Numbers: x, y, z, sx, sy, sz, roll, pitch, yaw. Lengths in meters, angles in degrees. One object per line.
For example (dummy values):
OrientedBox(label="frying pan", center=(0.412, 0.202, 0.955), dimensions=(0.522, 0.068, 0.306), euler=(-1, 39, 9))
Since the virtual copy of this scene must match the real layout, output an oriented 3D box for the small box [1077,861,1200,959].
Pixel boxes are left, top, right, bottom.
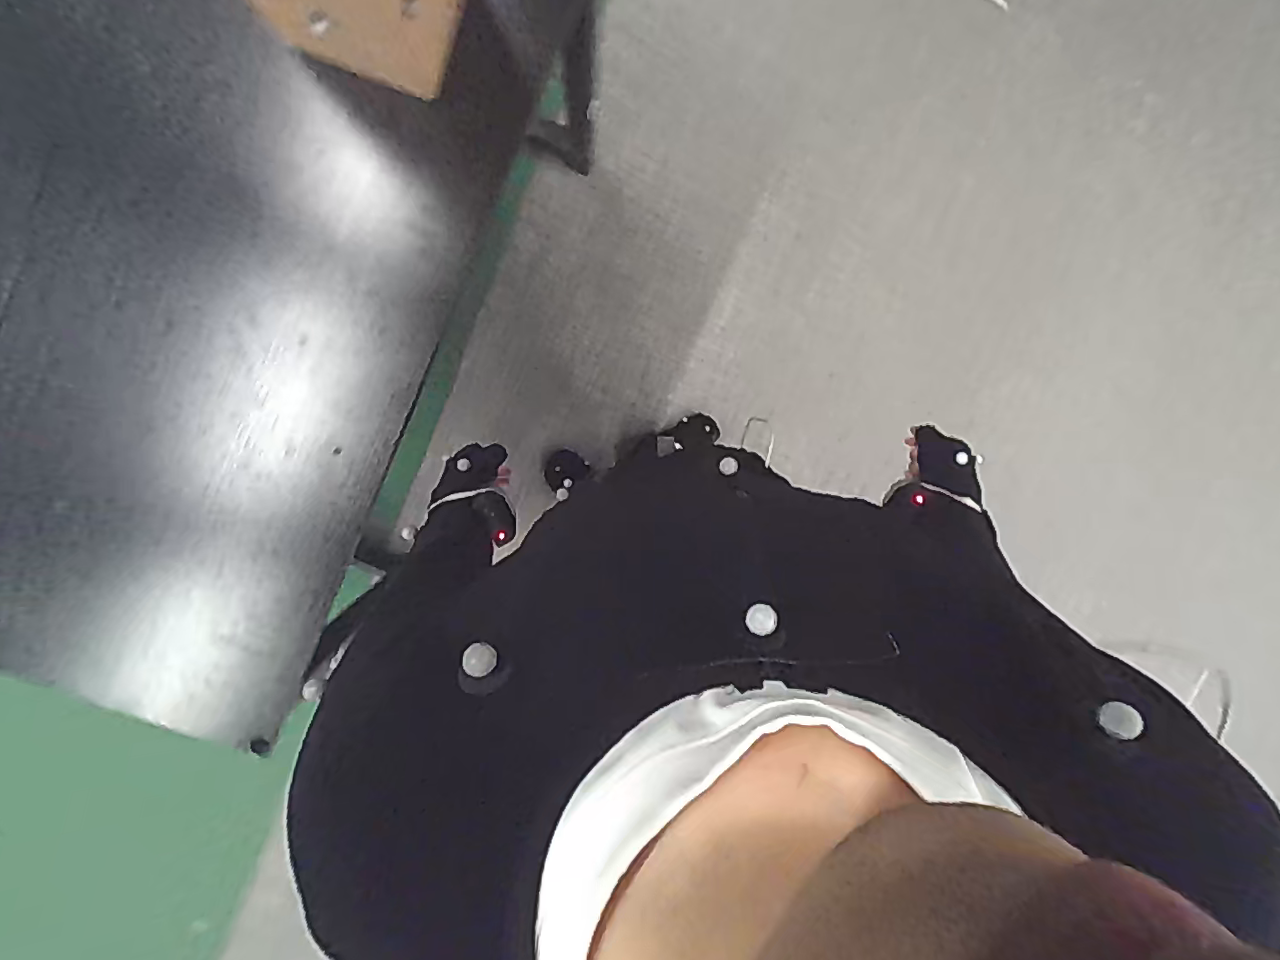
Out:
OrientedBox(label="small box", center=(1.427, 1.246, 1.552), dimensions=(0.179, 0.176, 0.168), euler=(26, 95, -8))
